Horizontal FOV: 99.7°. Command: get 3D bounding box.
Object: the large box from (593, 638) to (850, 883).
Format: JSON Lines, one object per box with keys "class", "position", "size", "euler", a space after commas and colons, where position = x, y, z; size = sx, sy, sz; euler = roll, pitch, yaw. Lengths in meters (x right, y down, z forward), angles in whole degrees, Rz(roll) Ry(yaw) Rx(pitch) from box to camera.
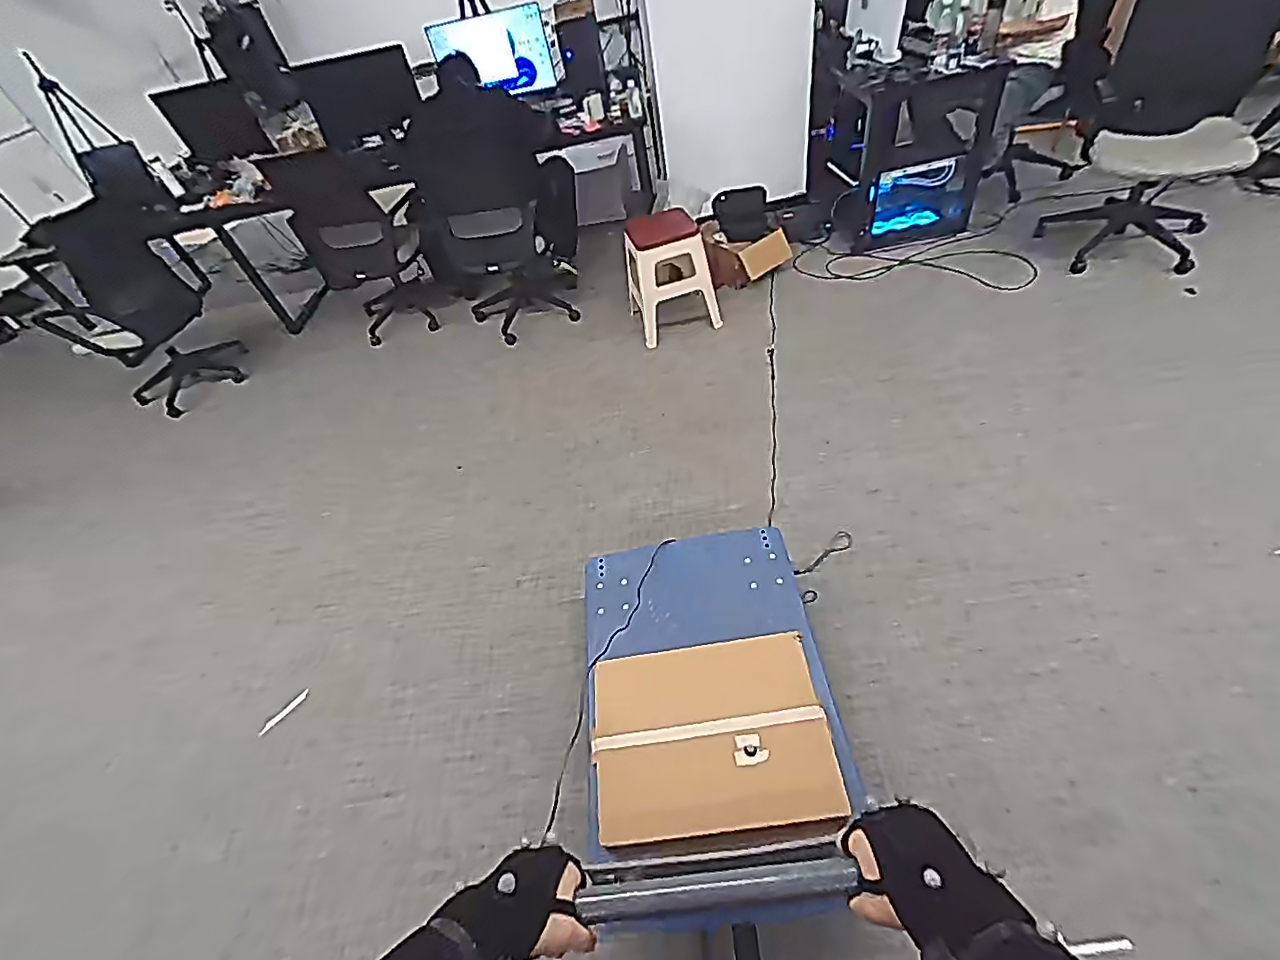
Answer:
{"class": "large box", "position": [0.140, 0.548, 1.049], "size": [0.408, 0.320, 0.320], "euler": [-10, 48, 3]}
